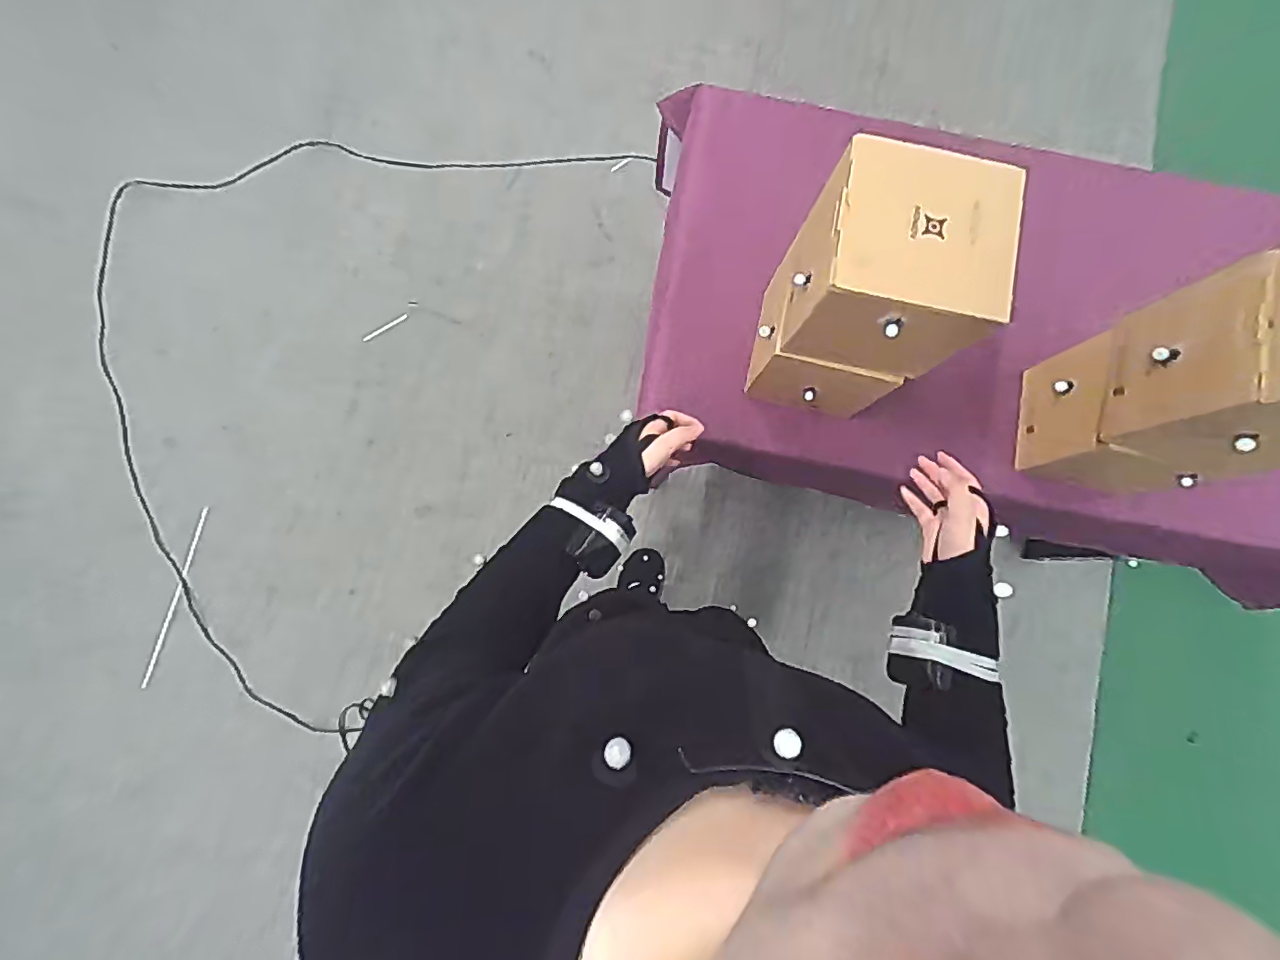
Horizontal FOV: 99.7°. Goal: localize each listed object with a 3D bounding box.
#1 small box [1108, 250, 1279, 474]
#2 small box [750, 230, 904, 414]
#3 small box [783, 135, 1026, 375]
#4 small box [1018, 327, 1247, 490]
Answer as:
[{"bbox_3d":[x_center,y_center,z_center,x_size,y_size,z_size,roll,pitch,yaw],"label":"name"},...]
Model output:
[{"bbox_3d":[0.671,-0.113,0.591,0.179,0.176,0.168,16,82,1],"label":"small box"},{"bbox_3d":[0.261,-0.206,0.755,0.168,0.176,0.179,14,81,-1],"label":"small box"},{"bbox_3d":[0.272,-0.229,0.593,0.179,0.176,0.168,12,83,-1],"label":"small box"},{"bbox_3d":[0.672,-0.087,0.754,0.179,0.176,0.168,12,81,-1],"label":"small box"}]
